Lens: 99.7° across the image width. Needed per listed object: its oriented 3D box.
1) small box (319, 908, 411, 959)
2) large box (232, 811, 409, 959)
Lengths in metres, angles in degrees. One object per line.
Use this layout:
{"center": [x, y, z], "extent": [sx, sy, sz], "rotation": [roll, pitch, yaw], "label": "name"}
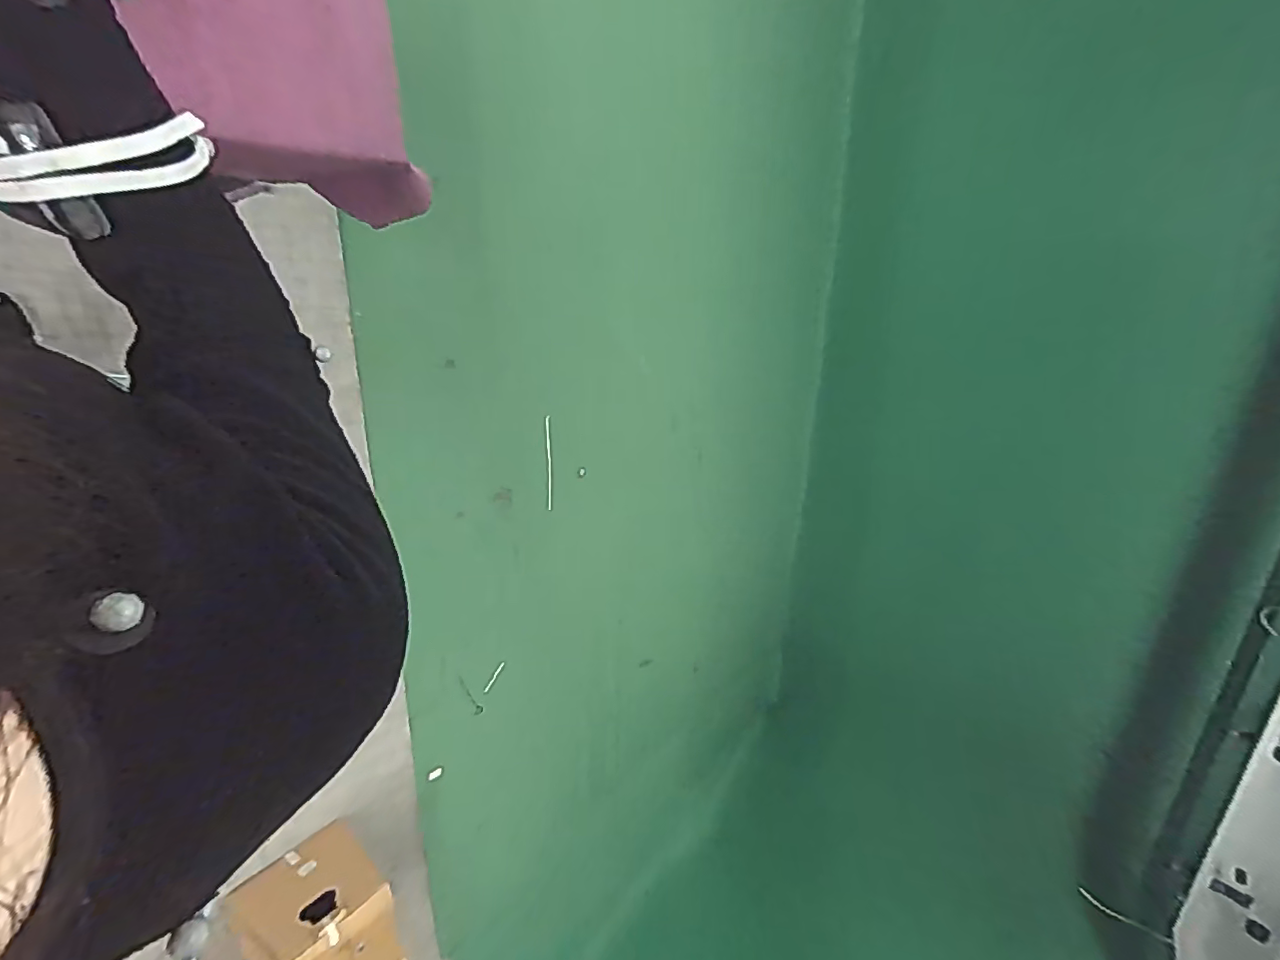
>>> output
{"center": [-0.732, 1.304, 1.430], "extent": [0.168, 0.176, 0.179], "rotation": [-8, 108, -52], "label": "small box"}
{"center": [-0.925, 1.300, 1.588], "extent": [0.320, 0.320, 0.408], "rotation": [-22, 121, -46], "label": "large box"}
